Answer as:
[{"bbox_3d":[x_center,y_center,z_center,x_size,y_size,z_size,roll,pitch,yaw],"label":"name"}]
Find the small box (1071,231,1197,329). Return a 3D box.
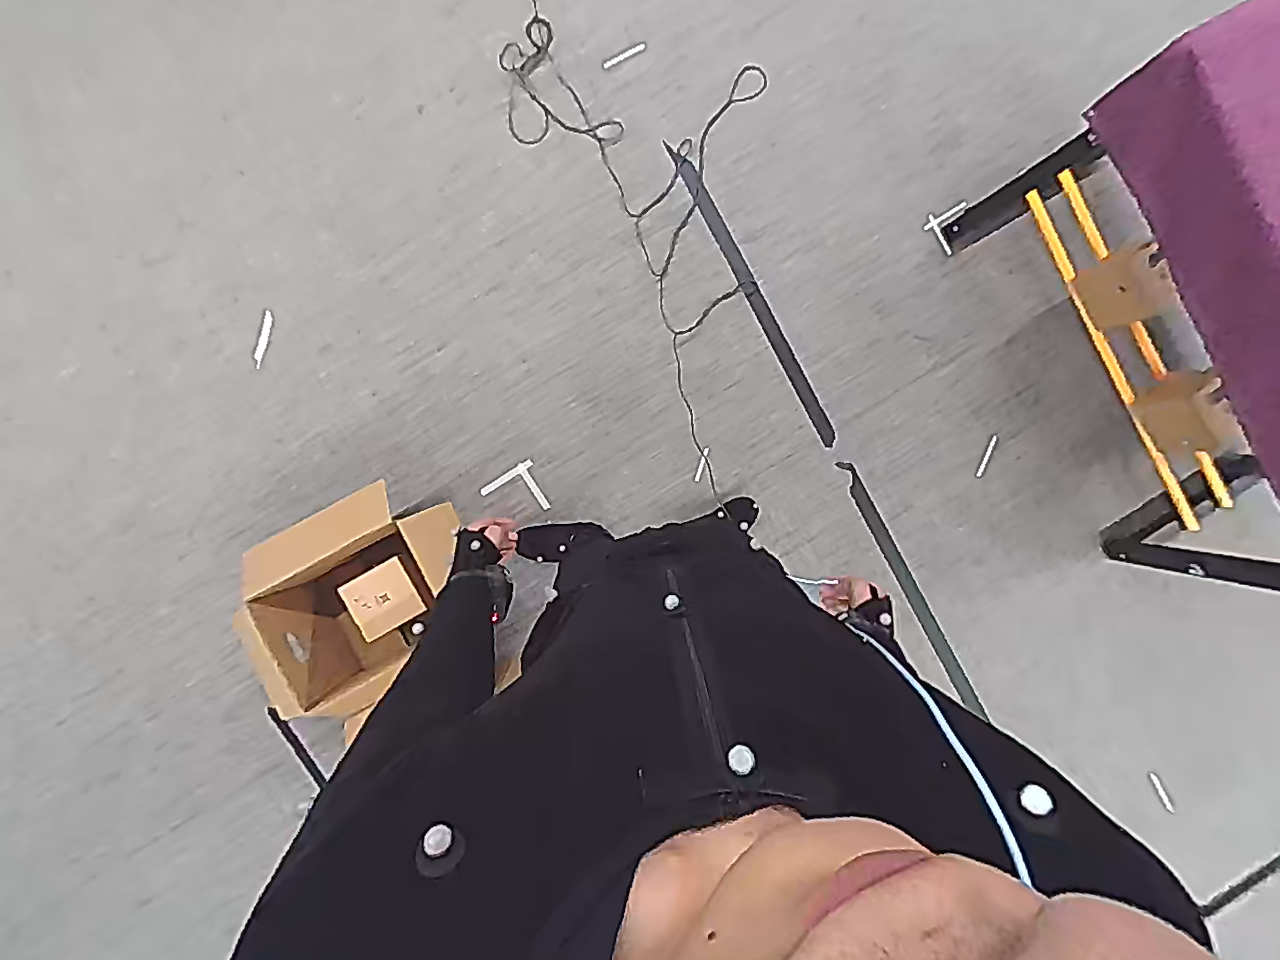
[{"bbox_3d":[1.362,-0.547,1.503,0.168,0.176,0.179,-33,96,-3],"label":"small box"}]
